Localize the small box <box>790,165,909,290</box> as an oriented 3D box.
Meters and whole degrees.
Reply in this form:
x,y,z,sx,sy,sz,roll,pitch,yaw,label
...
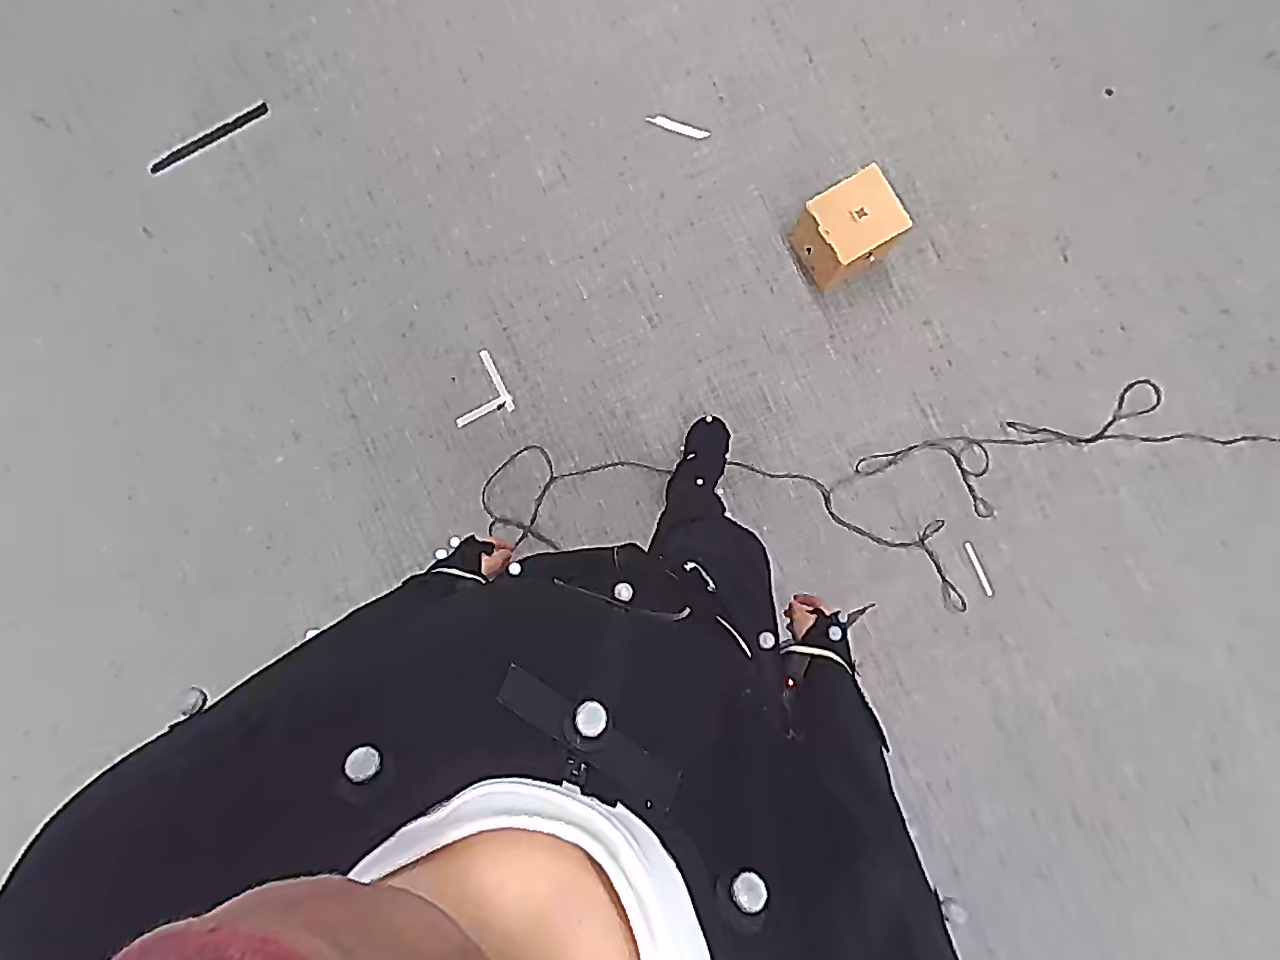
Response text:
x,y,z,sx,sy,sz,roll,pitch,yaw,label
0.478,-0.578,1.259,0.179,0.176,0.168,-30,87,3,small box
